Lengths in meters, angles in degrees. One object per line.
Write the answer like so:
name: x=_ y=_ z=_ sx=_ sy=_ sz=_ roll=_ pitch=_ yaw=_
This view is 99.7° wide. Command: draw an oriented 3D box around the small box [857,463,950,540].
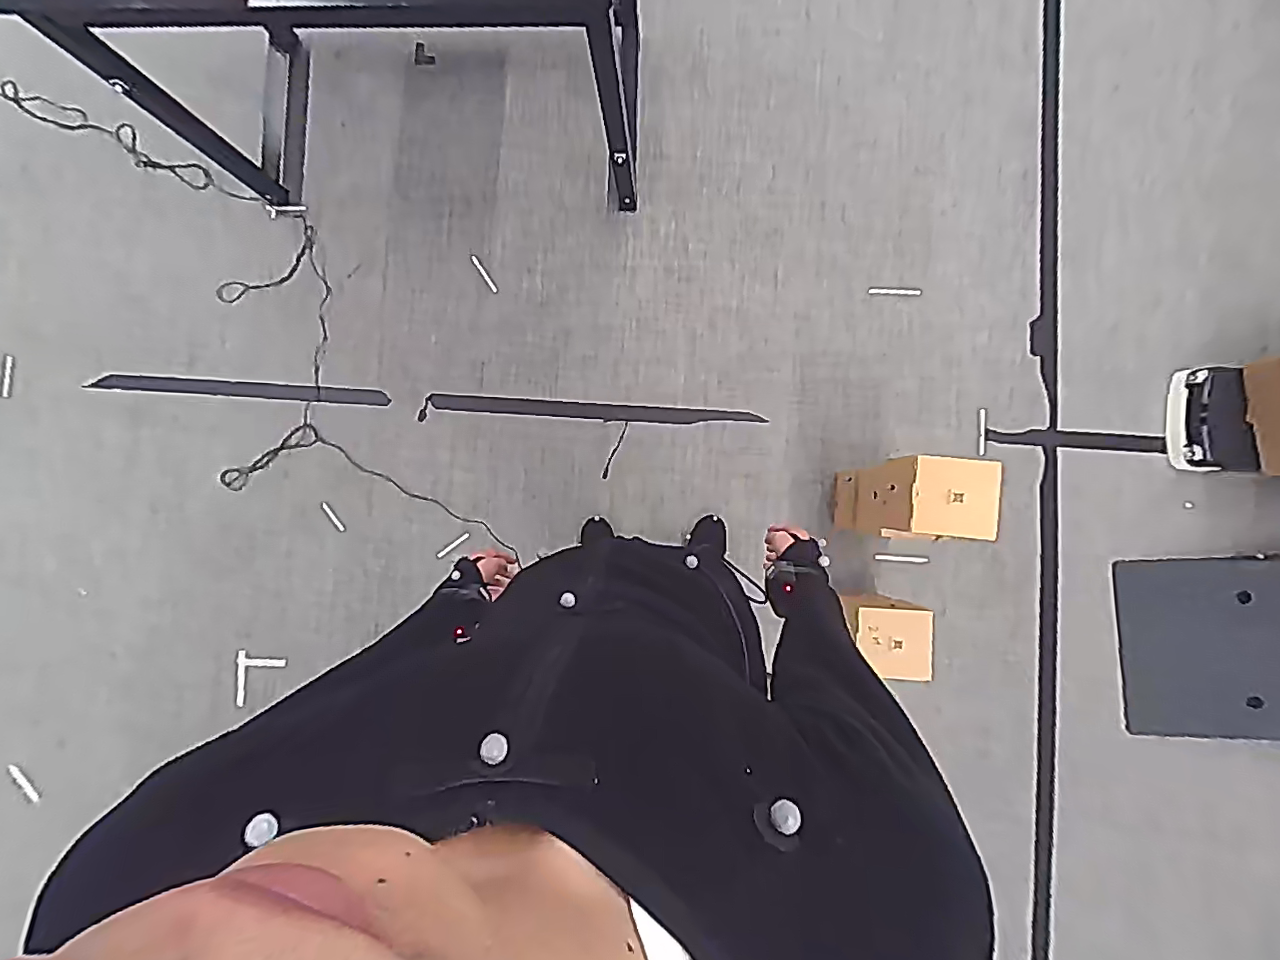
small box: x=0.659 y=0.053 z=1.359 sx=0.168 sy=0.176 sz=0.179 roll=3 pitch=89 yaw=3

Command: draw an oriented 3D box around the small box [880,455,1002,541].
small box: x=0.657 y=0.038 z=1.196 sx=0.179 sy=0.176 sz=0.168 roll=5 pitch=89 yaw=4

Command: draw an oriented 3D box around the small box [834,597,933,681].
small box: x=0.602 y=0.390 z=1.352 sx=0.179 sy=0.176 sz=0.168 roll=3 pitch=87 yaw=4

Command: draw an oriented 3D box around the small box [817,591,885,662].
small box: x=0.609 y=0.408 z=1.516 sx=0.179 sy=0.176 sz=0.168 roll=1 pitch=87 yaw=4
